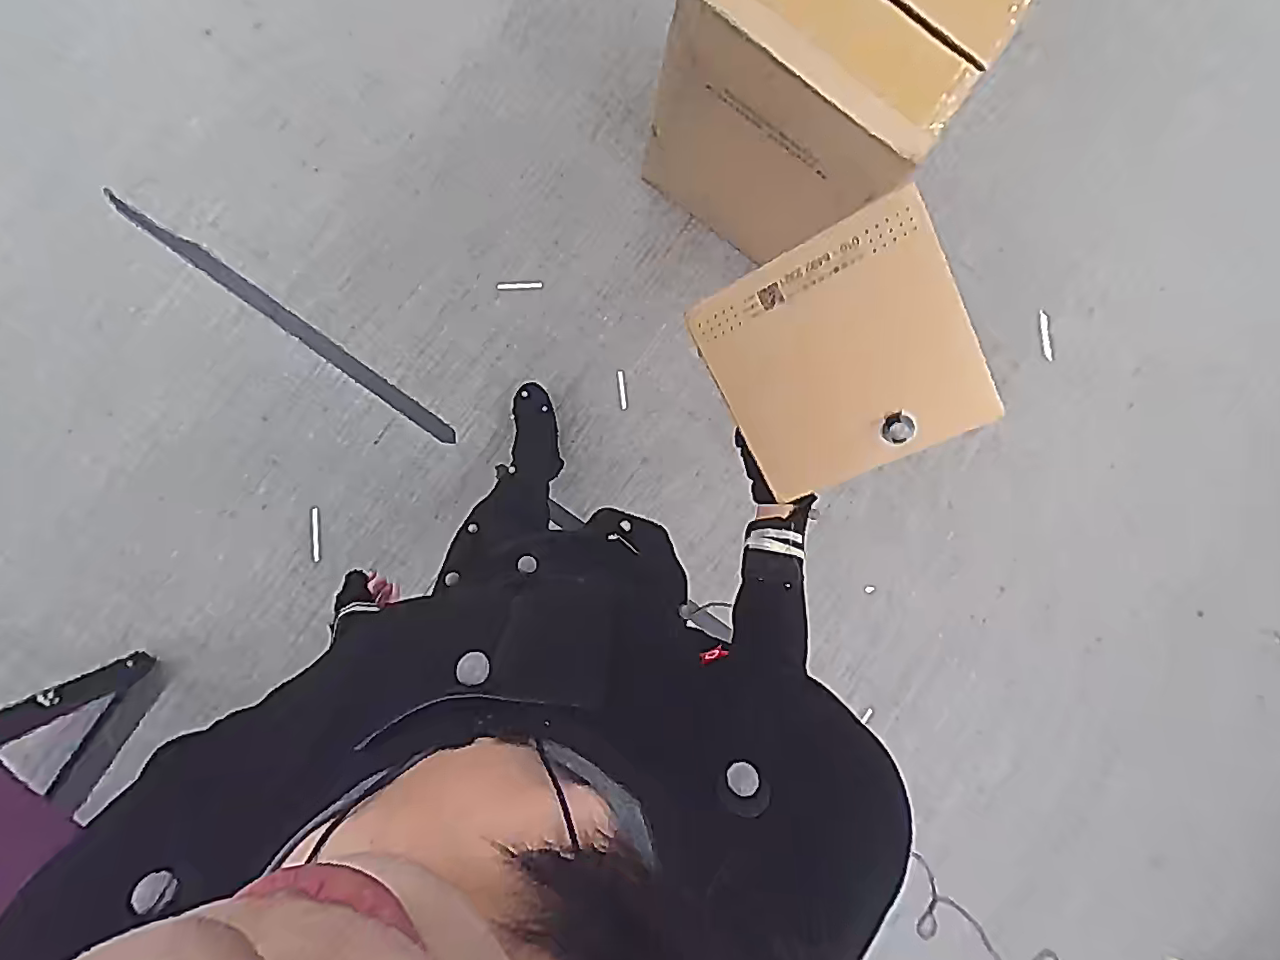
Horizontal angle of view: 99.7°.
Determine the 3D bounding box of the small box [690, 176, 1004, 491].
[{"bbox_3d":[0.158,-0.121,0.449,0.168,0.179,0.176,-25,102,22],"label":"small box"}]
